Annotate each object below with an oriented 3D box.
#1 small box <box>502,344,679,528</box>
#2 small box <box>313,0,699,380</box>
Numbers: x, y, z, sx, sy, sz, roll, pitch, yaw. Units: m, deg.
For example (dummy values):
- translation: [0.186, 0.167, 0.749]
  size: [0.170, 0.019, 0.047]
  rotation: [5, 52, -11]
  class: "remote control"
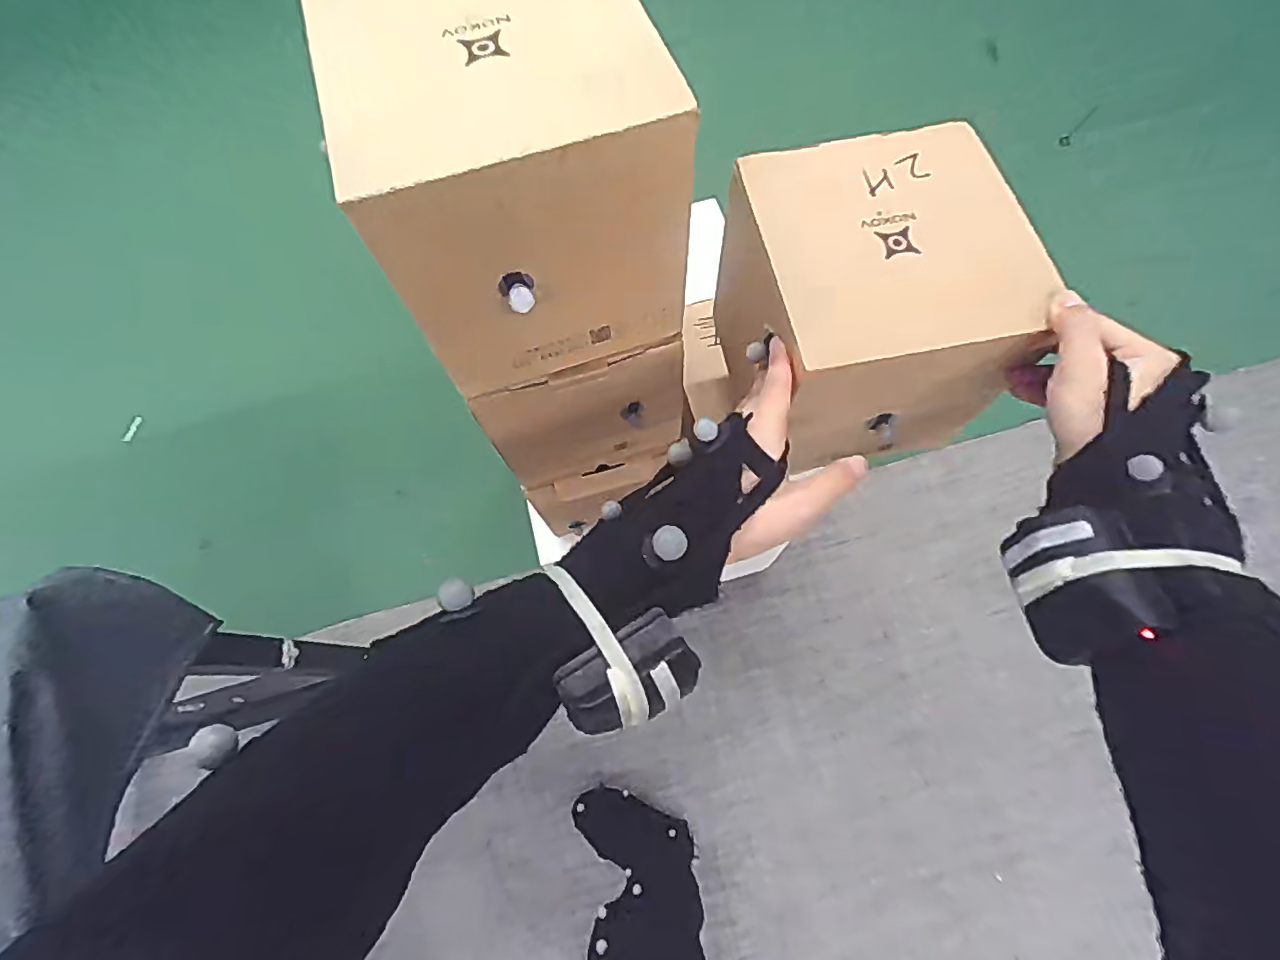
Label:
- translation: [-0.053, -0.054, 0.640]
  size: [0.168, 0.176, 0.179]
  rotation: [-15, 68, -3]
  class: "small box"
- translation: [-0.070, -0.184, 0.342]
  size: [0.168, 0.176, 0.179]
  rotation: [-18, 68, -5]
  class: "small box"
